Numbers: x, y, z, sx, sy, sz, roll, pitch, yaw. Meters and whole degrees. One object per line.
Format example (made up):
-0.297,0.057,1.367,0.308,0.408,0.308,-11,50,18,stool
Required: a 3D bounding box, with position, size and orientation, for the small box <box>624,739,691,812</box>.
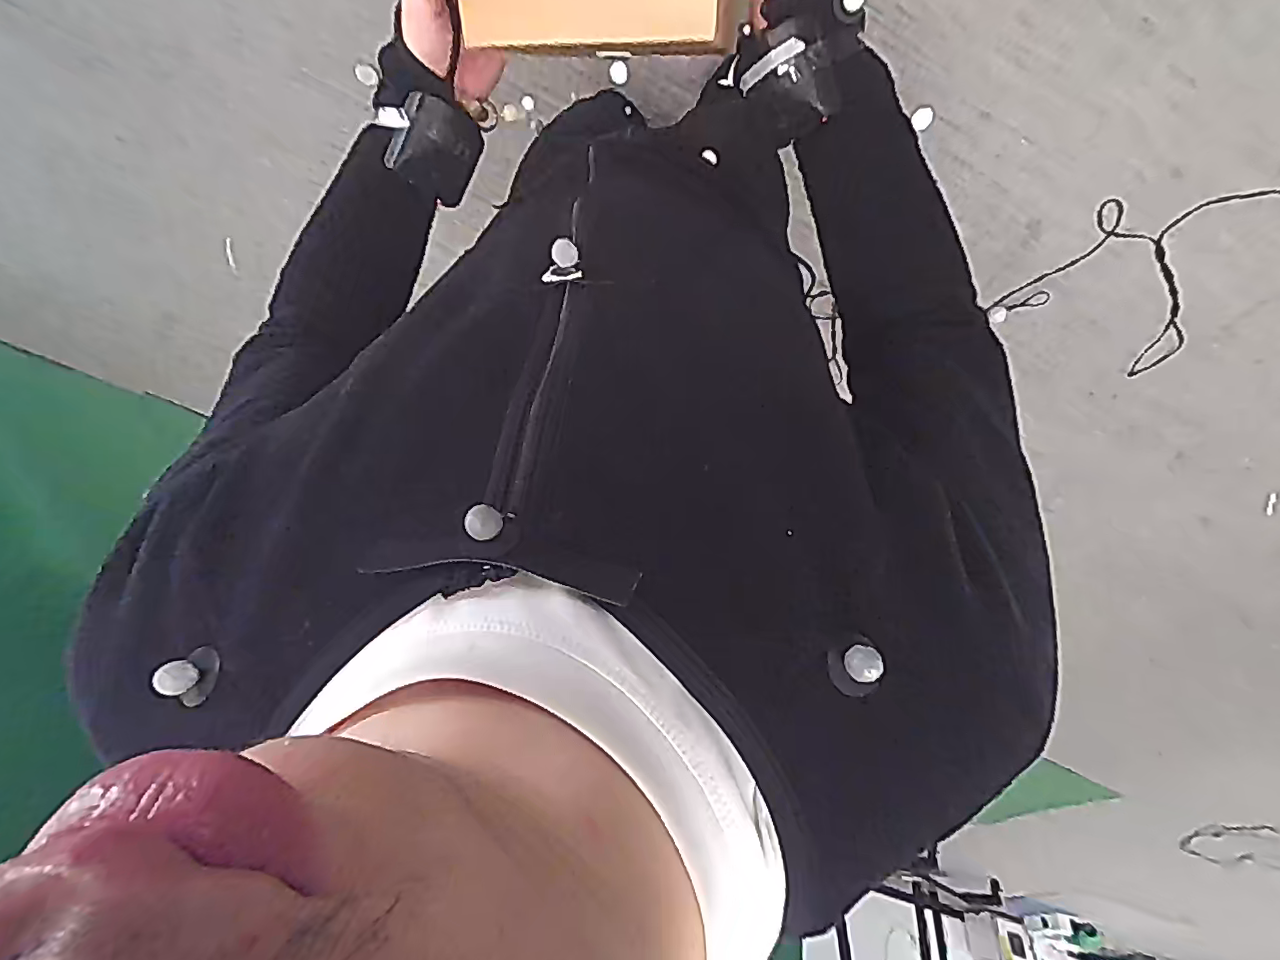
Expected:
0.063,1.008,1.849,0.168,0.176,0.179,26,135,-12,small box
